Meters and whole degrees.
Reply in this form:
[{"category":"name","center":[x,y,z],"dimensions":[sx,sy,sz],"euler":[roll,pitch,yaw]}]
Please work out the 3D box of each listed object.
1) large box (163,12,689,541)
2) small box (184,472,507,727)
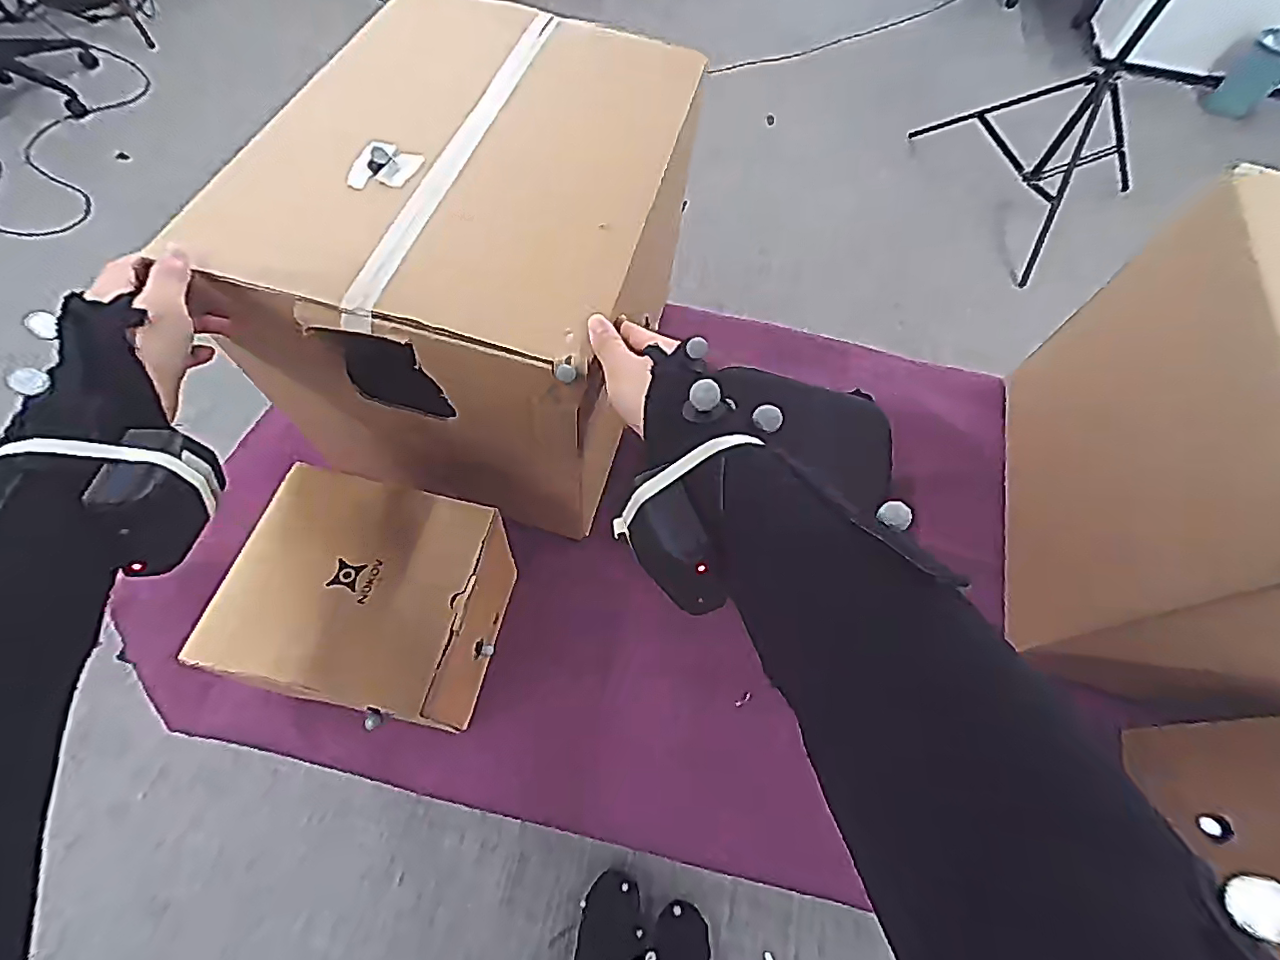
[{"category":"large box","center":[-0.153,-0.198,0.588],"dimensions":[0.320,0.320,0.408],"euler":[14,64,3]},{"category":"small box","center":[-0.234,0.118,0.490],"dimensions":[0.179,0.176,0.168],"euler":[13,61,-1]}]
